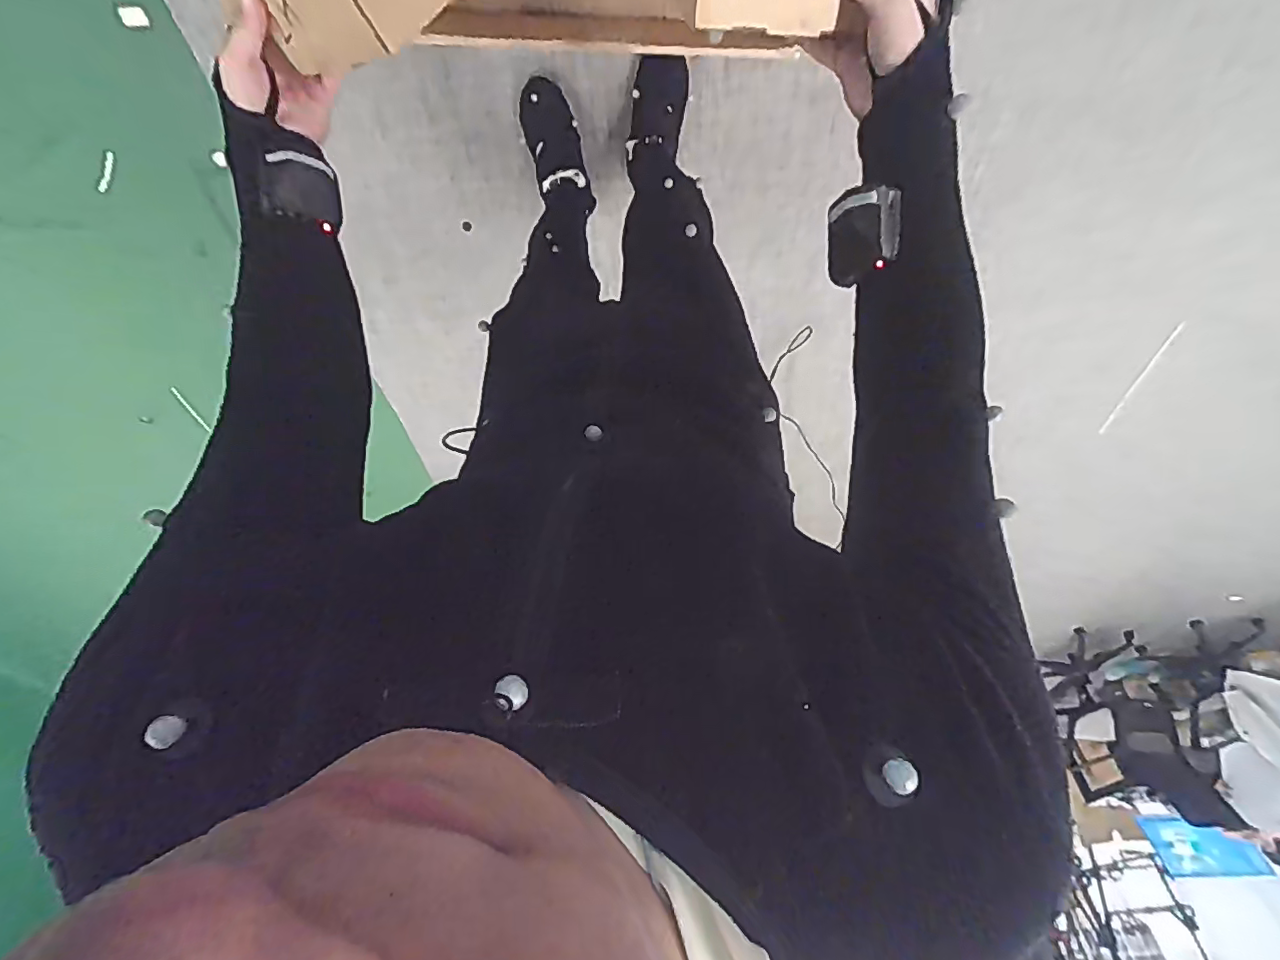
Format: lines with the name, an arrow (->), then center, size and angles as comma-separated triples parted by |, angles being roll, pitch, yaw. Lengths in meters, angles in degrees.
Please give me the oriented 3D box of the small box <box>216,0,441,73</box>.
small box -> -0.240, -0.442, 0.387 | 0.168, 0.176, 0.179 | 19, 162, 30
